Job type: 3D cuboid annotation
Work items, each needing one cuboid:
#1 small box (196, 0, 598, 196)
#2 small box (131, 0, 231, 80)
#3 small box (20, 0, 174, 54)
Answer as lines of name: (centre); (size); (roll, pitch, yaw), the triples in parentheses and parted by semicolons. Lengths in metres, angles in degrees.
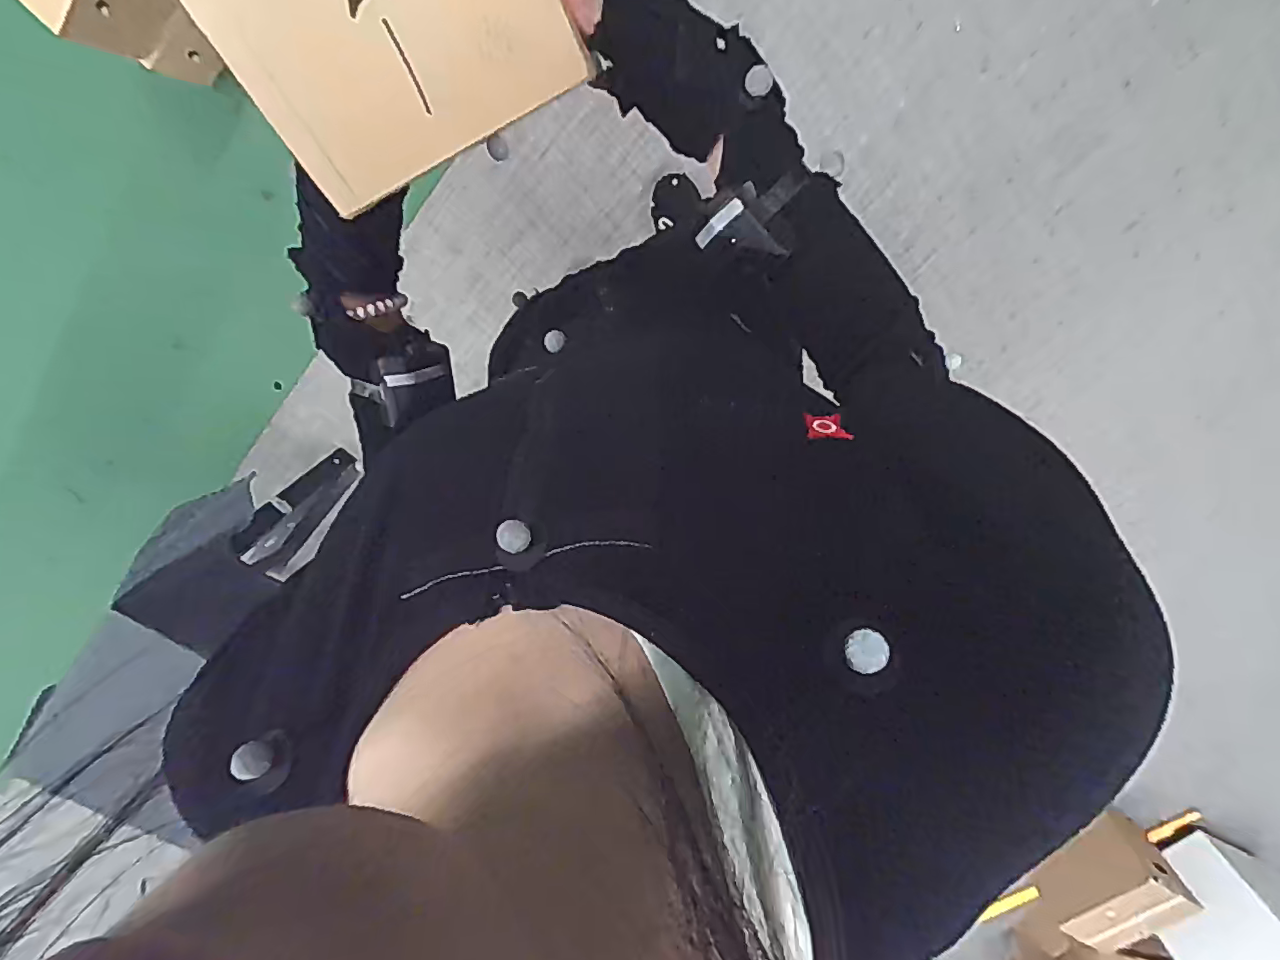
small box: (-0.134, -0.297, 0.305); (0.168, 0.176, 0.179); (-20, 127, 14)
small box: (-0.937, -0.930, 1.061); (0.168, 0.176, 0.179); (-37, 109, 18)
small box: (-0.943, -0.870, 0.907); (0.179, 0.176, 0.168); (-38, 109, 18)
